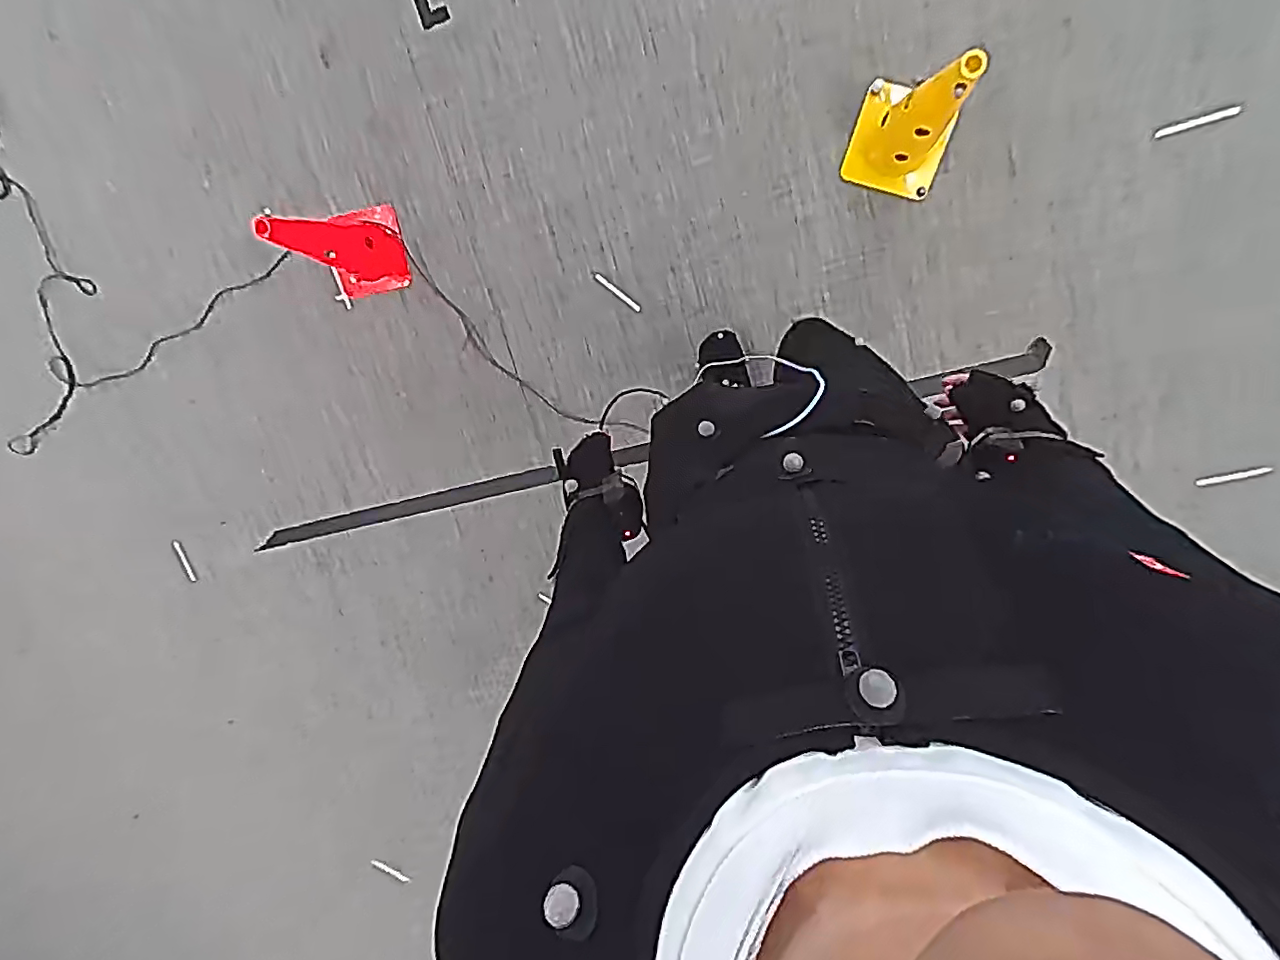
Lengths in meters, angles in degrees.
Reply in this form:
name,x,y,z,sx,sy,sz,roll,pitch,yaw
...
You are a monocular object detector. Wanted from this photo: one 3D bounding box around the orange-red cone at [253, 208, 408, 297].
name,x,y,z,sx,sy,sz,roll,pitch,yaw
orange-red cone,-0.726,-0.540,1.233,0.199,0.360,0.198,-7,105,8
